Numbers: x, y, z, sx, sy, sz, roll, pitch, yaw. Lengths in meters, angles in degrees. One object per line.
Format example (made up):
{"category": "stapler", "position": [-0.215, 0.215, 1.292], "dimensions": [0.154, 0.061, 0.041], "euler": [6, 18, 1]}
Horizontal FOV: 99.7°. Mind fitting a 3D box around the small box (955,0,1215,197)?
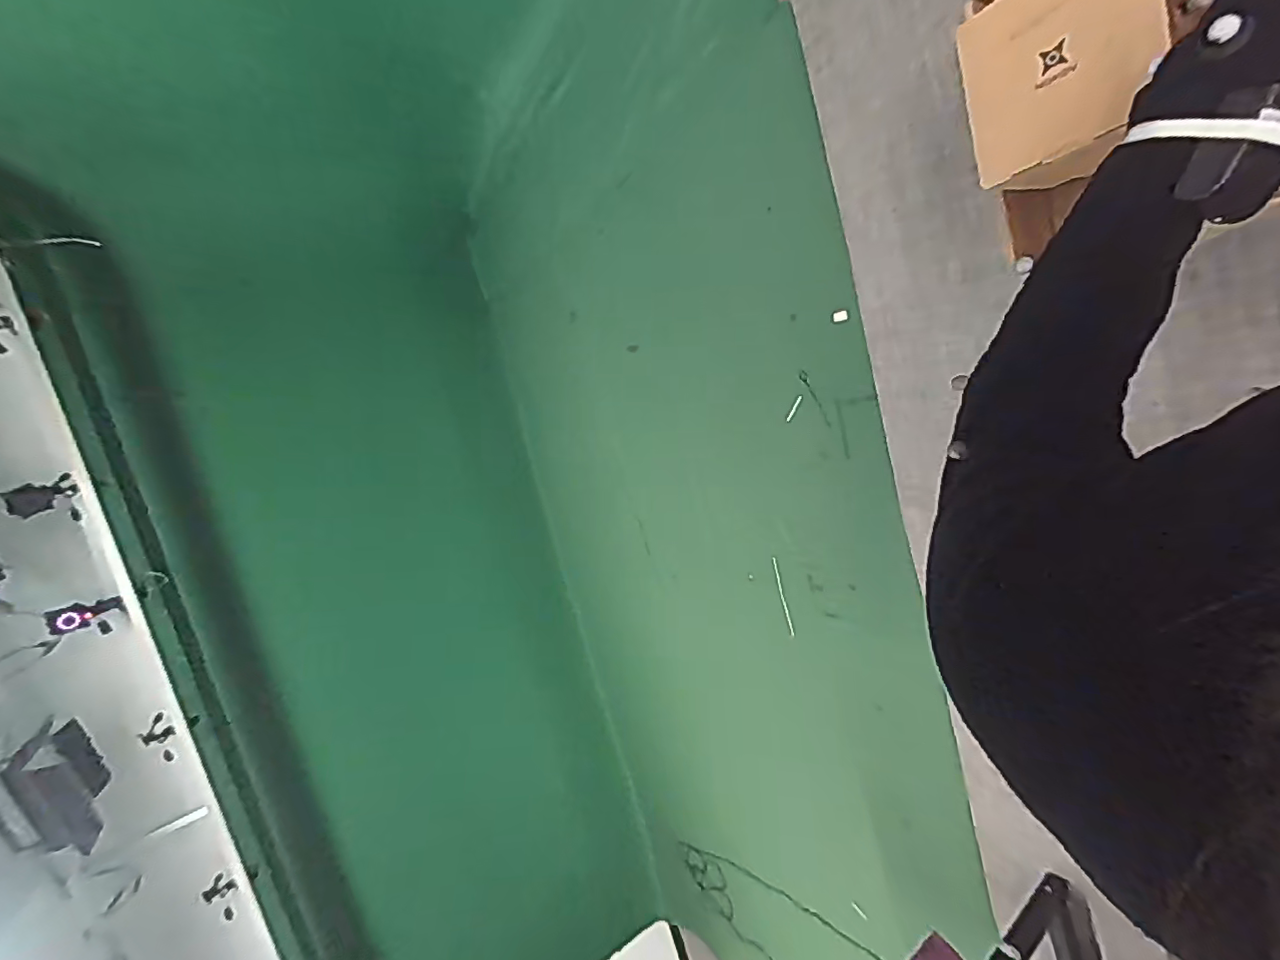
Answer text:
{"category": "small box", "position": [0.478, -0.431, 0.582], "dimensions": [0.168, 0.176, 0.179], "euler": [-1, 105, 58]}
